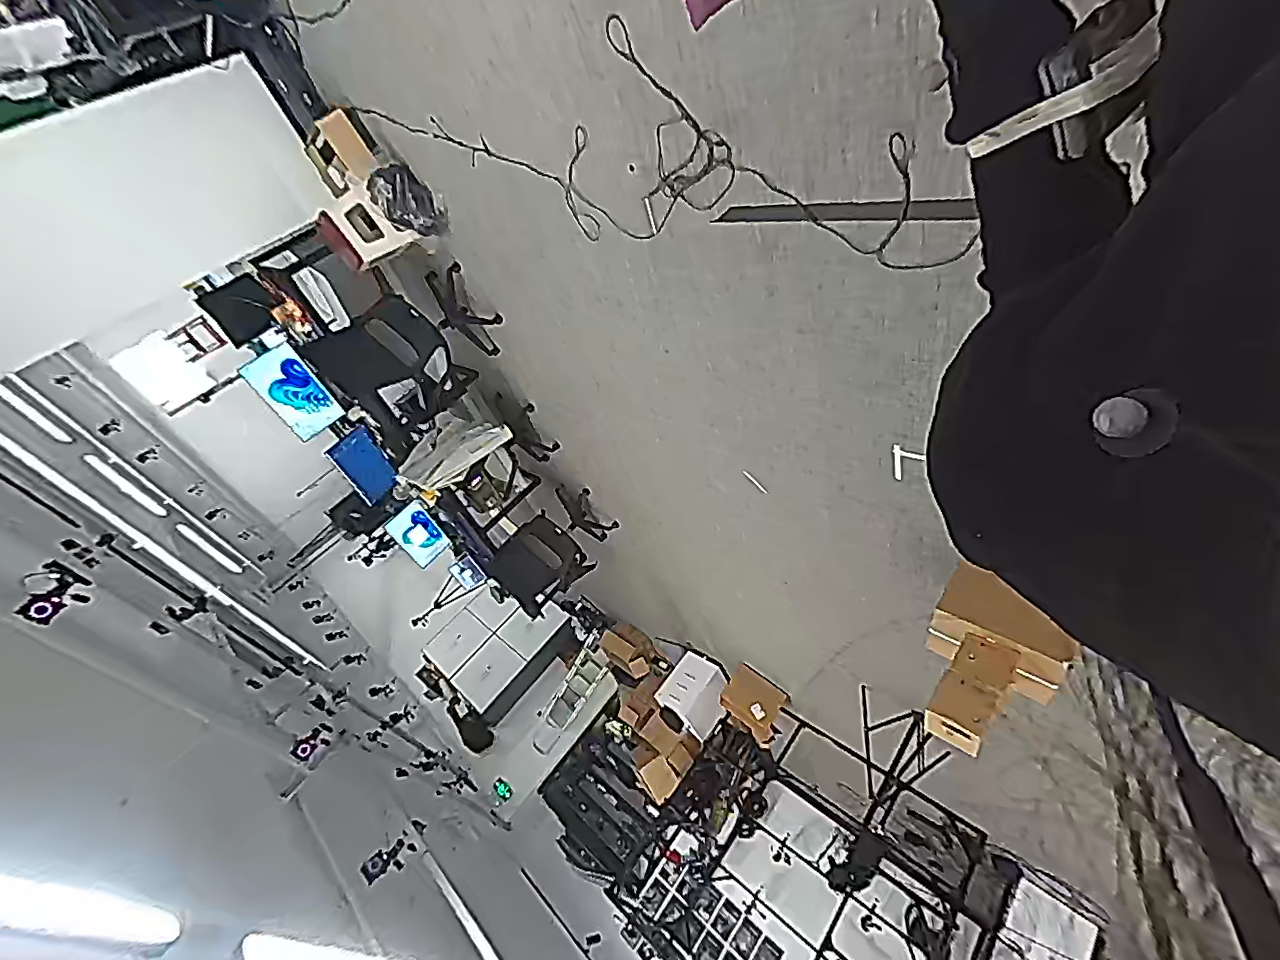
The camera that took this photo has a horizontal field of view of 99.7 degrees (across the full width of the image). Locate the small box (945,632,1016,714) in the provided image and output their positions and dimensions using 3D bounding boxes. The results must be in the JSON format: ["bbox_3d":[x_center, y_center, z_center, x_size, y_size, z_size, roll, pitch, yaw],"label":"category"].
[{"bbox_3d":[1.177,0.661,1.868,0.168,0.176,0.179,20,147,43],"label":"small box"}]
